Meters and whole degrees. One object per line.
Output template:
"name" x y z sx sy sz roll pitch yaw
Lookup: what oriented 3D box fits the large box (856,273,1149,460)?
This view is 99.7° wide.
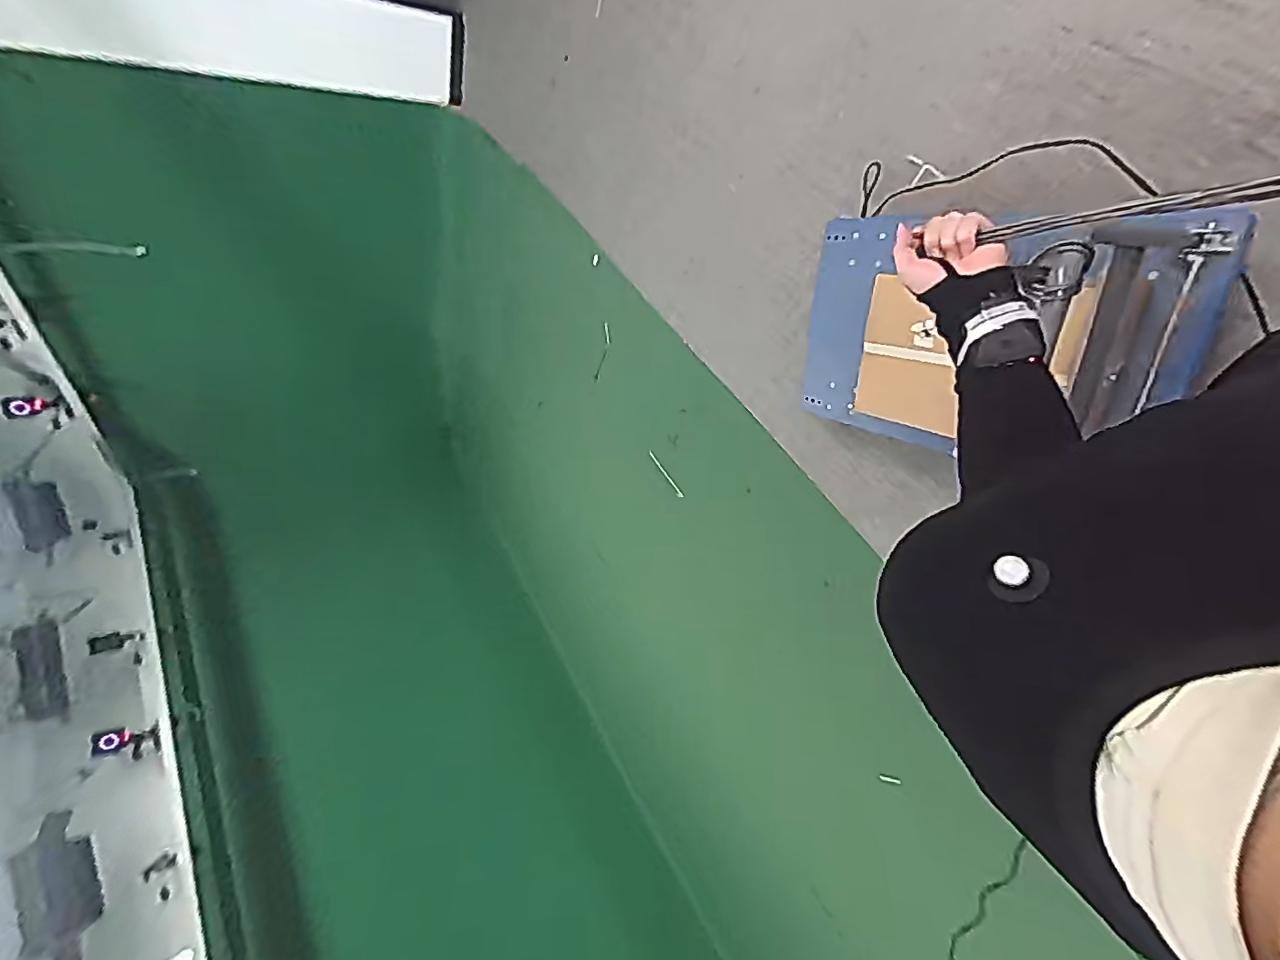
"large box" 0.753 -0.272 1.167 0.408 0.320 0.320 30 126 47
